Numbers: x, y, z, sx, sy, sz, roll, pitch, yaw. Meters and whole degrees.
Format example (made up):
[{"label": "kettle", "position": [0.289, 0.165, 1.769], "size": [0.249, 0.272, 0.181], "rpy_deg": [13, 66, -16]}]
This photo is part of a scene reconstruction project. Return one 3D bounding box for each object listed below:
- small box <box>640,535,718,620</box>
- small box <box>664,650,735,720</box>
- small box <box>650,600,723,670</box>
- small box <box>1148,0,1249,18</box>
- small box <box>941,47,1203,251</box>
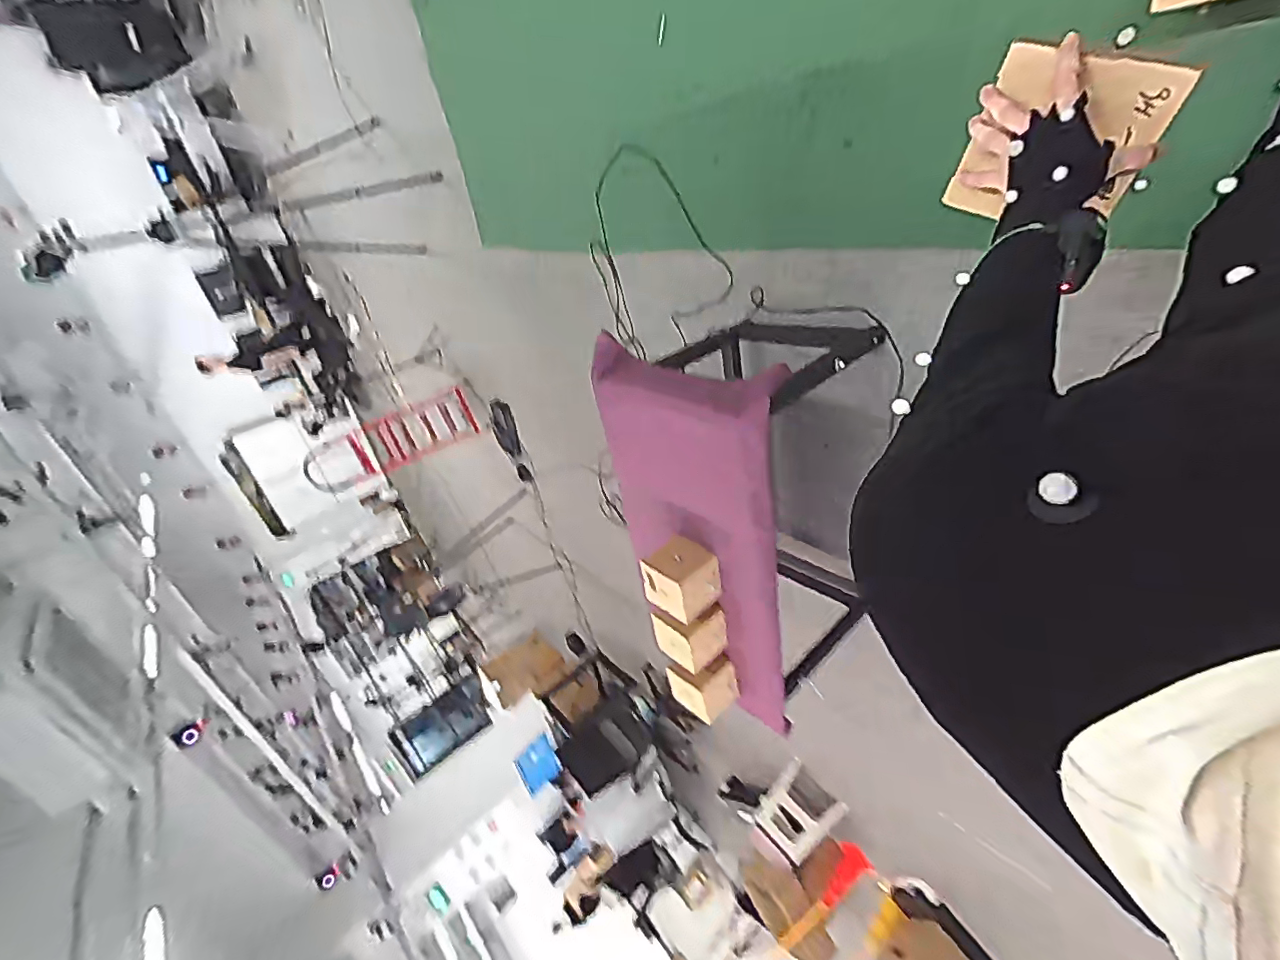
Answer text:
[{"label": "small box", "position": [0.125, 0.299, 1.705], "size": [0.179, 0.176, 0.168], "rpy_deg": [26, 137, 42]}, {"label": "small box", "position": [0.215, 0.711, 1.941], "size": [0.179, 0.176, 0.168], "rpy_deg": [19, 132, 47]}, {"label": "small box", "position": [0.160, 0.496, 1.828], "size": [0.179, 0.176, 0.168], "rpy_deg": [25, 136, 44]}, {"label": "small box", "position": [0.968, -0.871, 0.862], "size": [0.168, 0.176, 0.179], "rpy_deg": [26, 136, 43]}, {"label": "small box", "position": [0.510, -0.404, 0.649], "size": [0.179, 0.176, 0.168], "rpy_deg": [33, 142, 25]}]
